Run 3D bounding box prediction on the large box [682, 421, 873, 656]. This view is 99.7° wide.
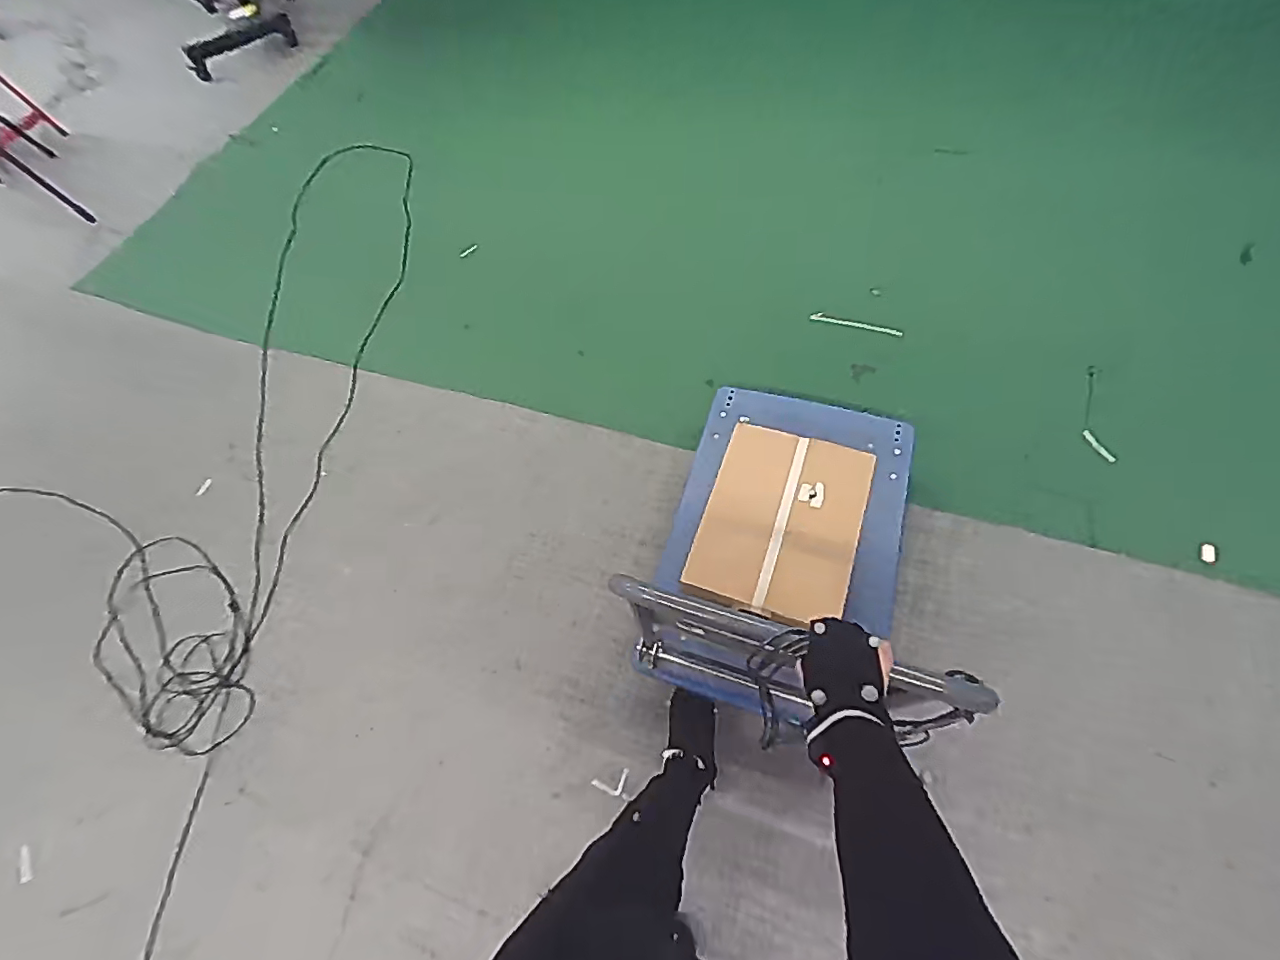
[{"bbox_3d":[0.307,0.139,1.246,0.320,0.320,0.408,17,65,14],"label":"large box"}]
